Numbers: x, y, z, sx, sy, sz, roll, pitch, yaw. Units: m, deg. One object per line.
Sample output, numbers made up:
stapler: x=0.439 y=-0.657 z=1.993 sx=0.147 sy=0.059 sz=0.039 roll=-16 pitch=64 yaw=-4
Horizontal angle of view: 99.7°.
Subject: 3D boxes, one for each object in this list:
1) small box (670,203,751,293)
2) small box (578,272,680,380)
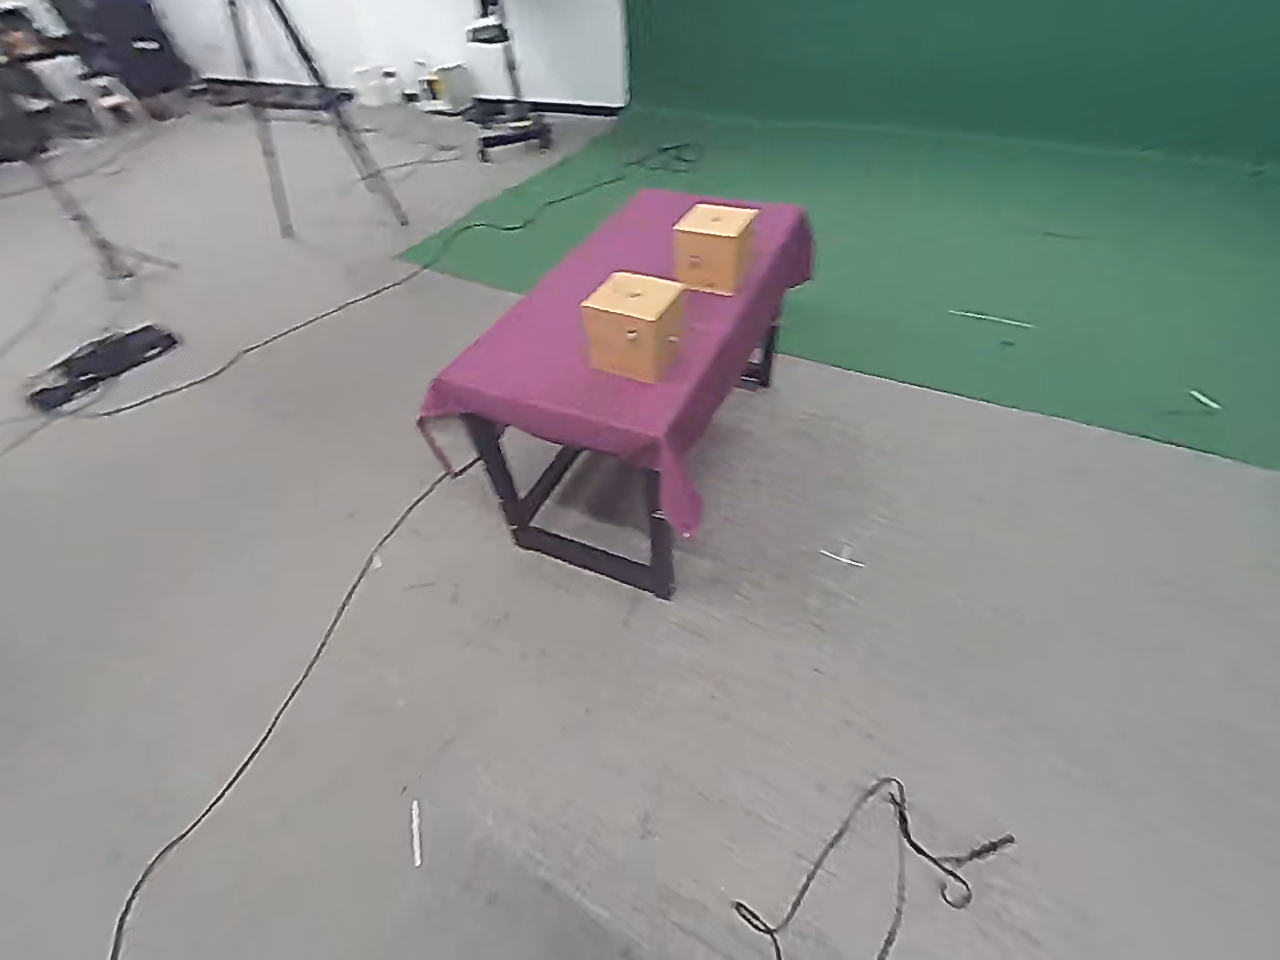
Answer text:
small box: x=0.195 y=-0.636 z=1.484 sx=0.168 sy=0.176 sz=0.179 roll=17 pitch=51 yaw=20
small box: x=-0.017 y=-0.351 z=1.245 sx=0.179 sy=0.176 sz=0.168 roll=18 pitch=52 yaw=21
